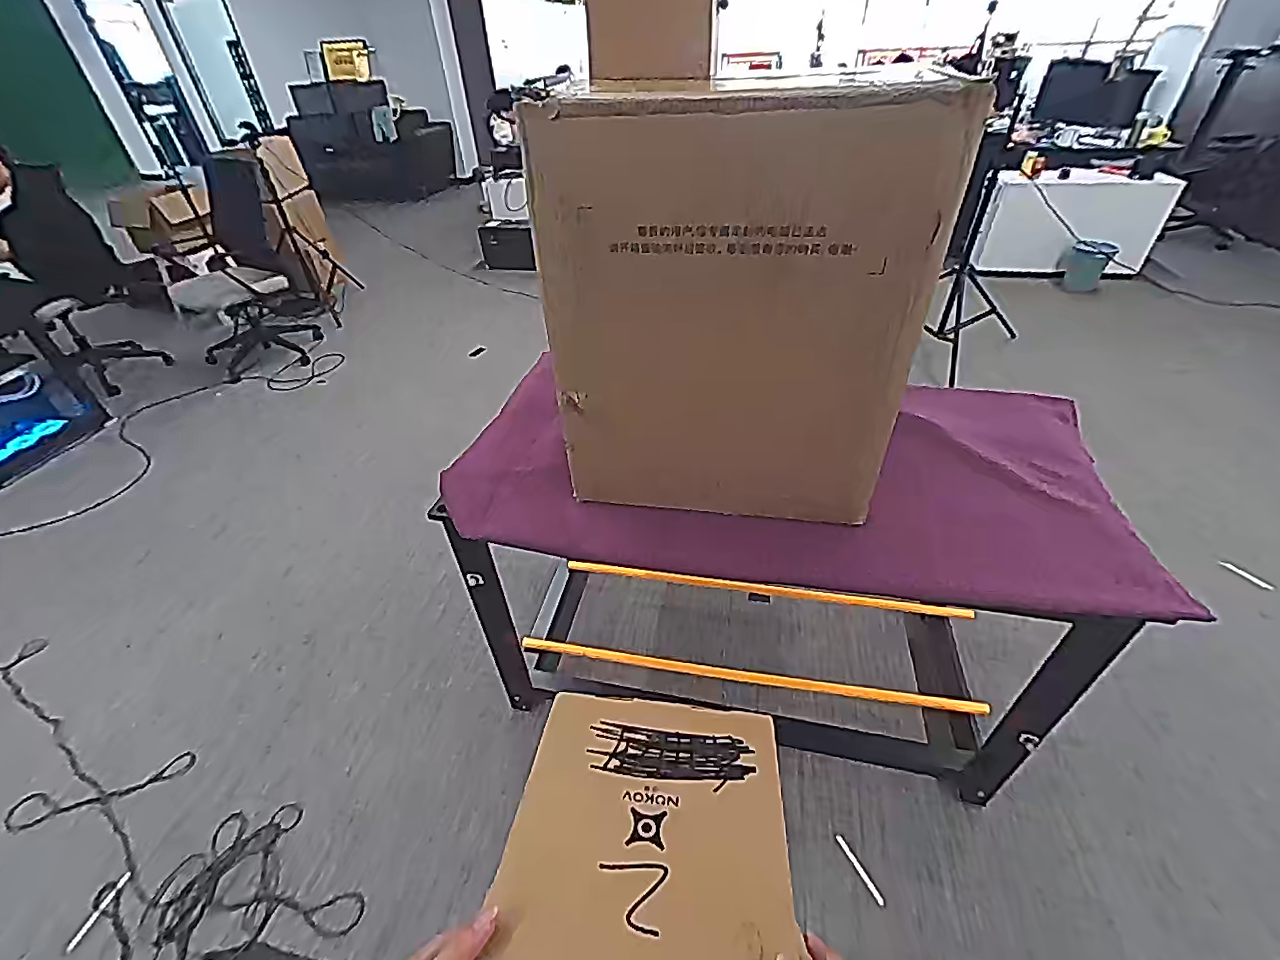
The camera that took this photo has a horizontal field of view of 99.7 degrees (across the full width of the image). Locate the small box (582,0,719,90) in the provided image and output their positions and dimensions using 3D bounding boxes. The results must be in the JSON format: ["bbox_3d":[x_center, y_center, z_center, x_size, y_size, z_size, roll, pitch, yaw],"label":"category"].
[{"bbox_3d":[0.022,-0.668,0.770,0.179,0.176,0.168,5,39,8],"label":"small box"}]
